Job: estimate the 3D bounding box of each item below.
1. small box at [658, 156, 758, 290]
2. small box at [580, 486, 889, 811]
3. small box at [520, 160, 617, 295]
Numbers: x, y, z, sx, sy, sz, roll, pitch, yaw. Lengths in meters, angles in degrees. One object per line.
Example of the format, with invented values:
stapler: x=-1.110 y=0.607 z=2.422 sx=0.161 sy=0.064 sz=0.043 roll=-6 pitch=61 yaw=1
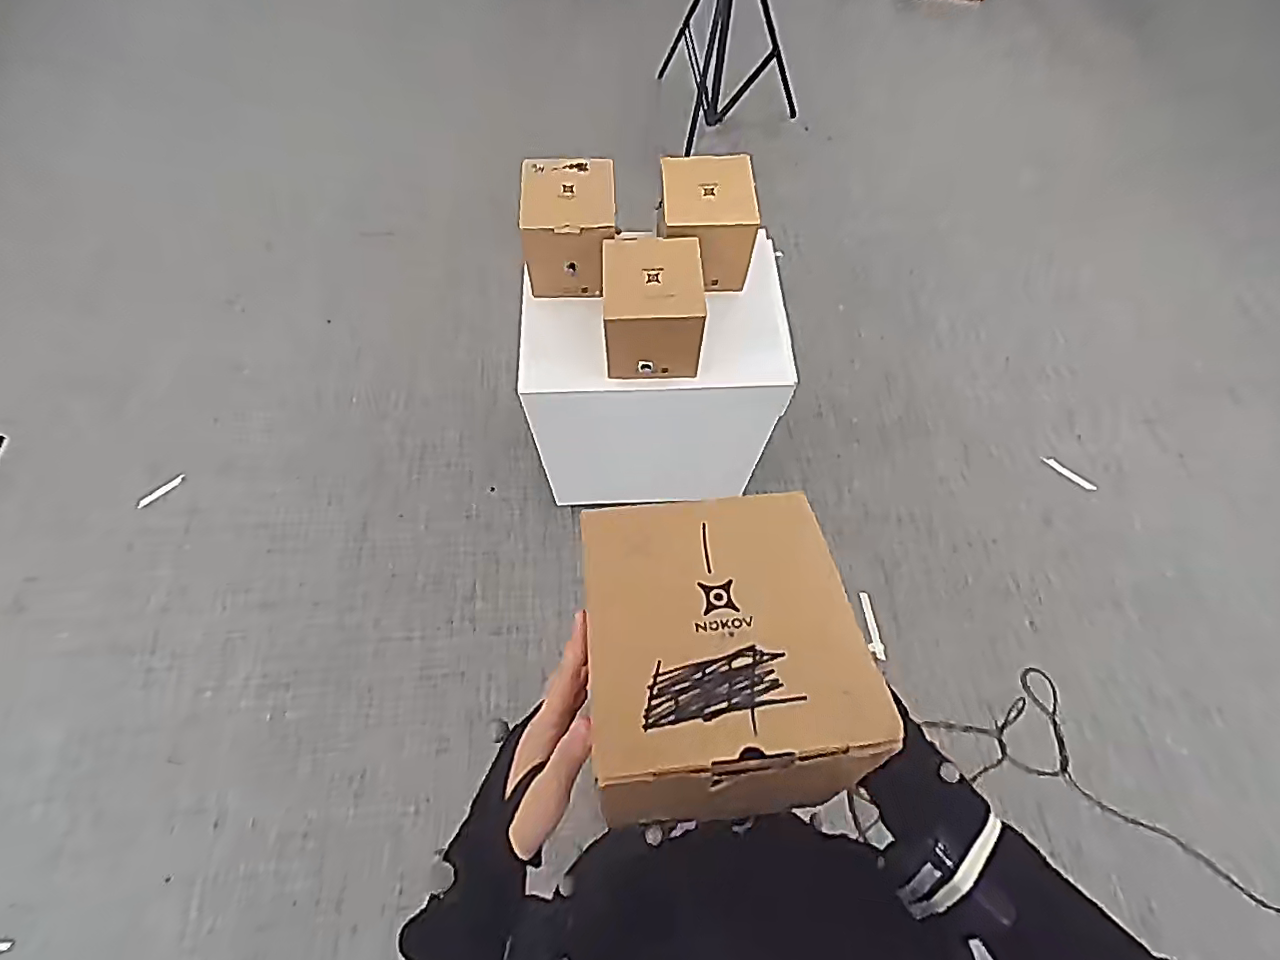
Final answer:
small box: x=0.122 y=-0.484 z=1.038 sx=0.168 sy=0.176 sz=0.179 roll=-2 pitch=67 yaw=-1
small box: x=0.047 y=0.129 z=0.398 sx=0.168 sy=0.176 sz=0.179 roll=-5 pitch=50 yaw=-4
small box: x=-0.129 y=-0.471 z=1.027 sx=0.168 sy=0.176 sz=0.179 roll=-2 pitch=68 yaw=-3
